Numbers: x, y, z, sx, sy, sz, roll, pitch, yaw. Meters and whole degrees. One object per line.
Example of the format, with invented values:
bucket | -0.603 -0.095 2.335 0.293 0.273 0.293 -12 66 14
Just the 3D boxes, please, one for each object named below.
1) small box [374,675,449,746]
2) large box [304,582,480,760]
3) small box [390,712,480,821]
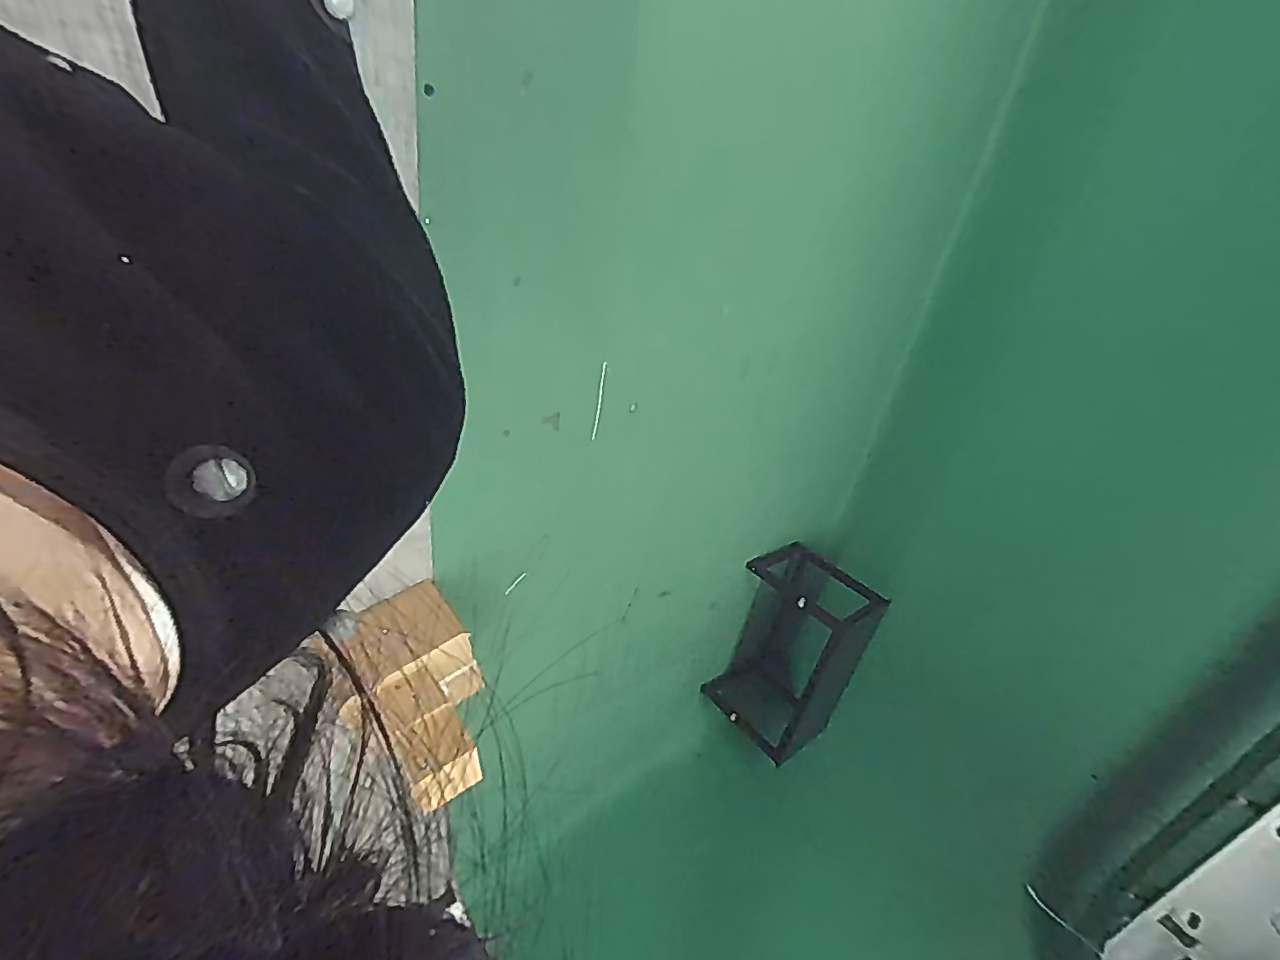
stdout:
small box | -0.676 0.717 1.622 0.168 0.176 0.179 -23 131 -33
large box | -0.814 0.621 1.806 0.408 0.320 0.320 -29 136 -31
small box | -0.576 0.796 1.522 0.179 0.176 0.168 -22 130 -34
